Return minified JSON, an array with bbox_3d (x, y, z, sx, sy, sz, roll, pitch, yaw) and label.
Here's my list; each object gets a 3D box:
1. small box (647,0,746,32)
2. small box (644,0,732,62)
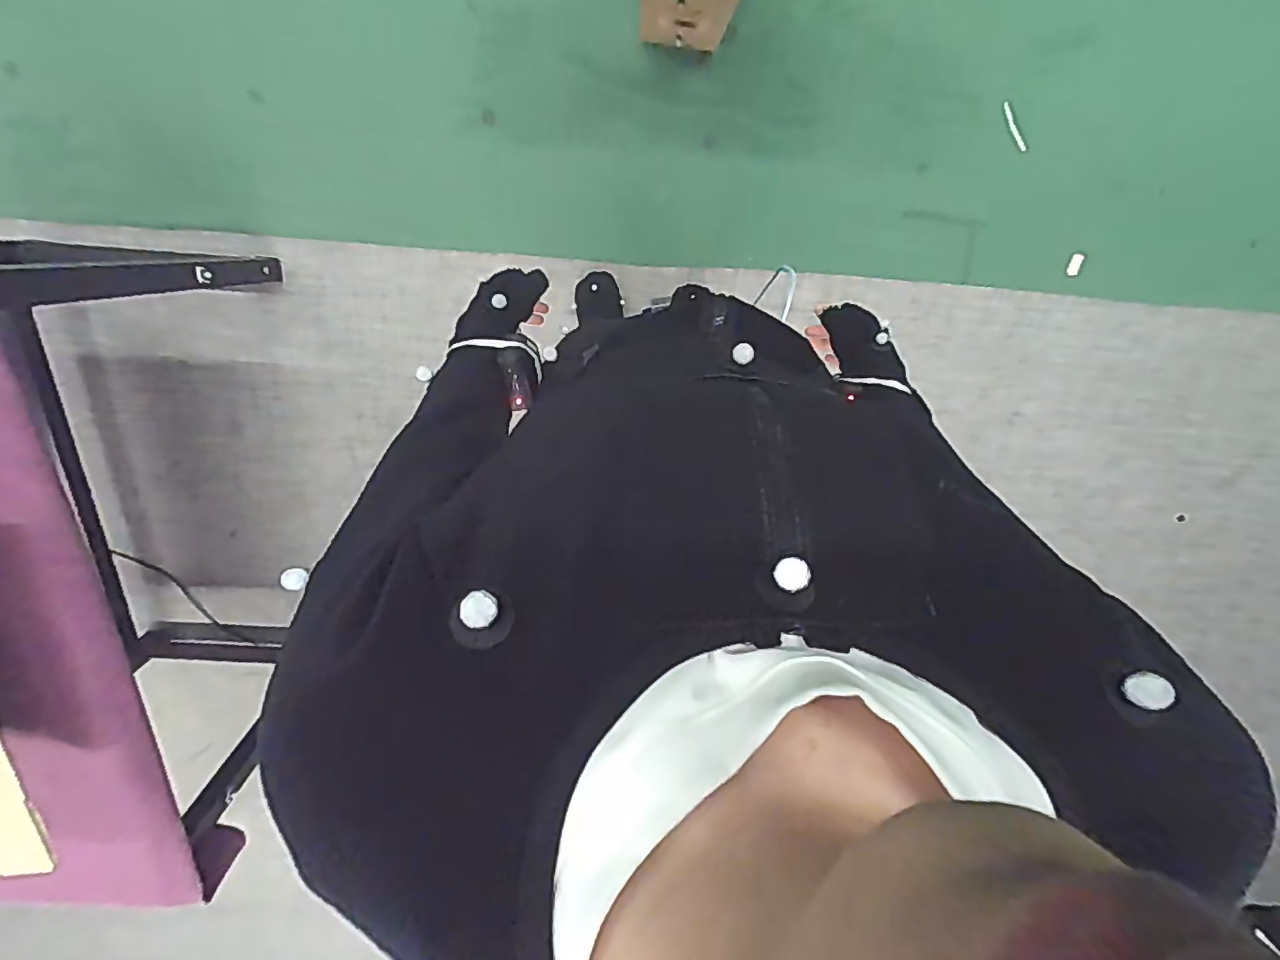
[{"bbox_3d":[0.101,-0.900,0.906,0.168,0.176,0.179,4,112,-4],"label":"small box"},{"bbox_3d":[0.099,-0.960,1.057,0.168,0.176,0.179,6,112,-4],"label":"small box"}]
